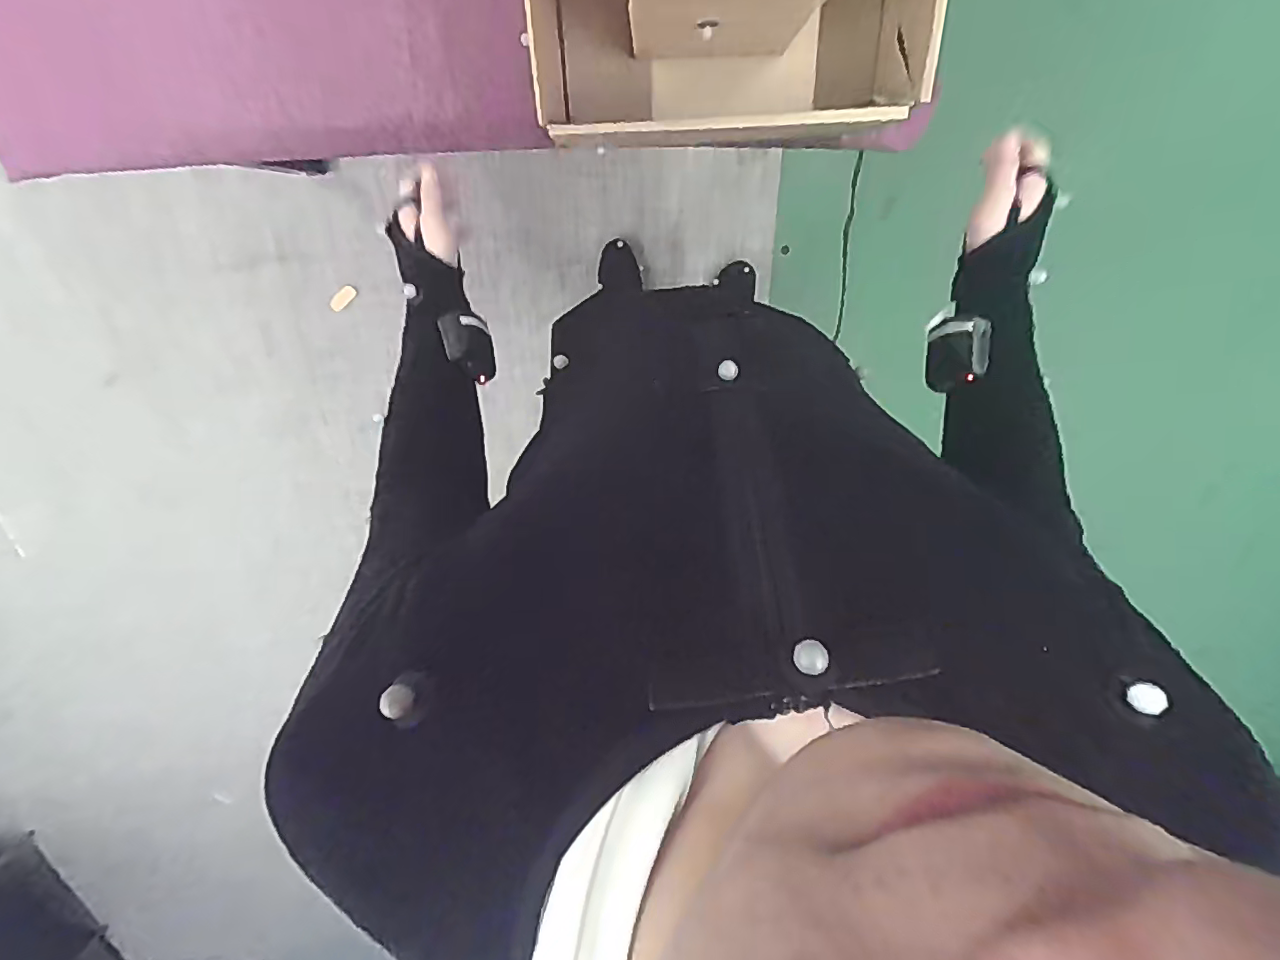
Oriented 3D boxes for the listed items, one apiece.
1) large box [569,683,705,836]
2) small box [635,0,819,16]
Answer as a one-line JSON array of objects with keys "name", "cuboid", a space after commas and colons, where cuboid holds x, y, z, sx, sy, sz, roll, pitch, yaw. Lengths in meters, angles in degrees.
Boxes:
[{"name": "large box", "cuboid": [-0.013, 1.059, 2.065, 0.408, 0.320, 0.320, -31, 112, 12]}, {"name": "small box", "cuboid": [0.077, -0.461, 0.385, 0.179, 0.176, 0.168, 1, 116, 1]}]
